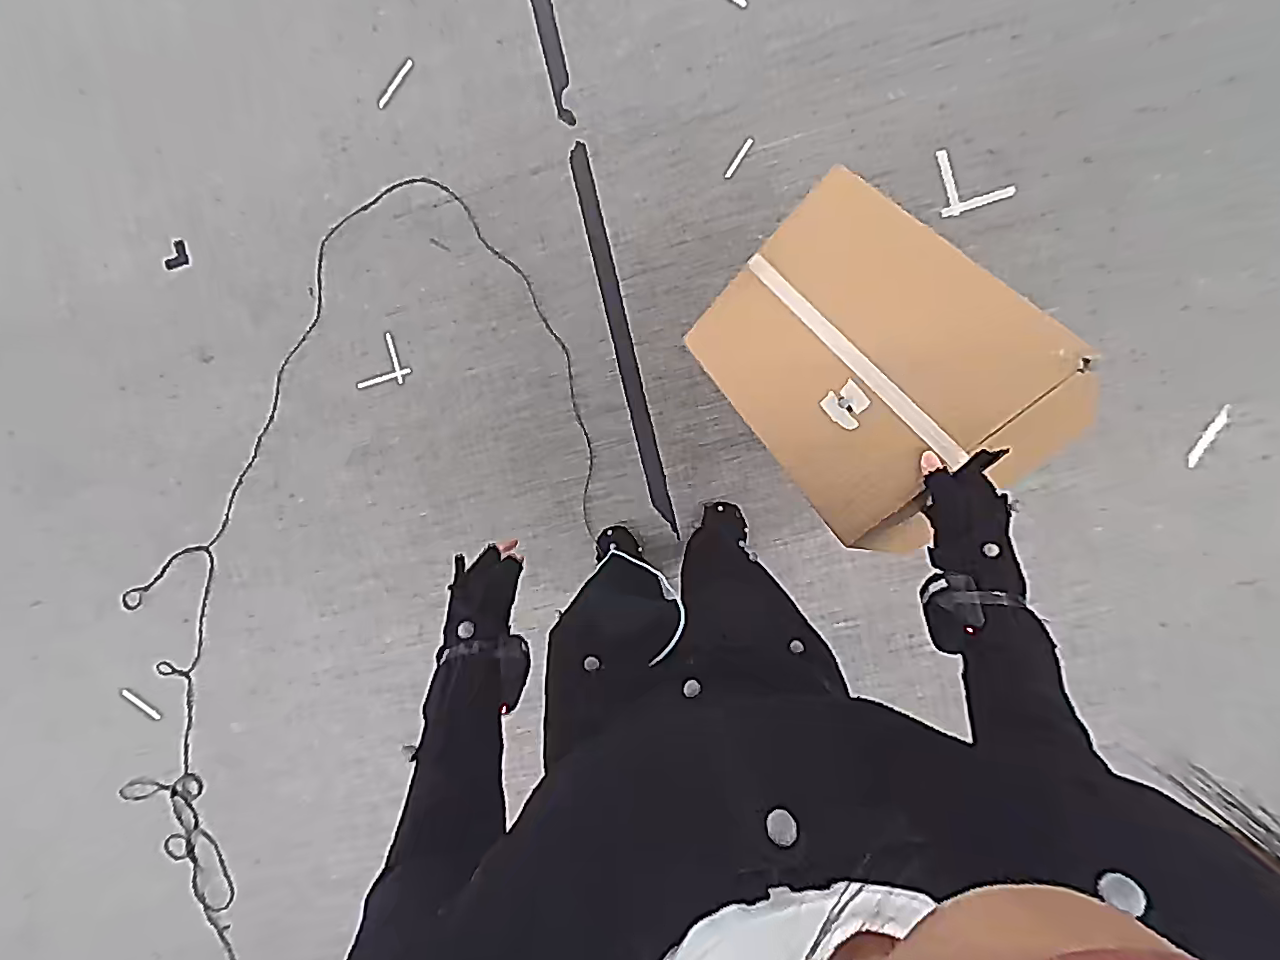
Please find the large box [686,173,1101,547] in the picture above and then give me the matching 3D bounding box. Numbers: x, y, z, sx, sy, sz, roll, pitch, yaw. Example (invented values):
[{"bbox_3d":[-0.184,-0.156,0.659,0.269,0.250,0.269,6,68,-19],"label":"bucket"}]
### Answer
[{"bbox_3d":[0.349,-0.149,0.794,0.320,0.320,0.408,-48,58,25],"label":"large box"}]
